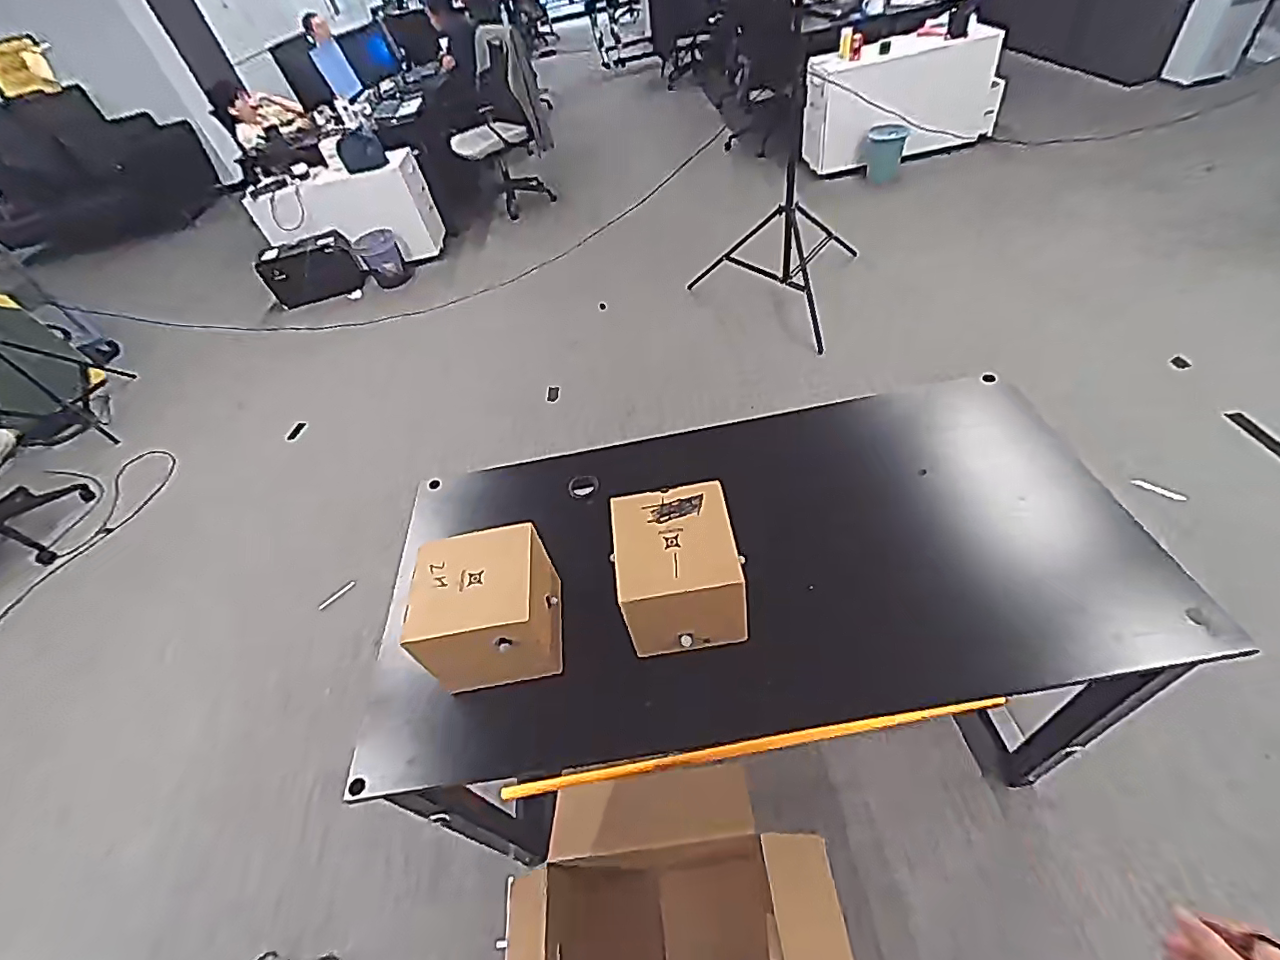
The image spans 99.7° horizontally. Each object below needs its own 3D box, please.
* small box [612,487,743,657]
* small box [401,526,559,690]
[{"bbox_3d":[0.055,0.139,0.807,0.168,0.176,0.179,-10,47,4],"label":"small box"},{"bbox_3d":[-0.224,0.195,0.814,0.179,0.176,0.168,-11,46,2],"label":"small box"}]
